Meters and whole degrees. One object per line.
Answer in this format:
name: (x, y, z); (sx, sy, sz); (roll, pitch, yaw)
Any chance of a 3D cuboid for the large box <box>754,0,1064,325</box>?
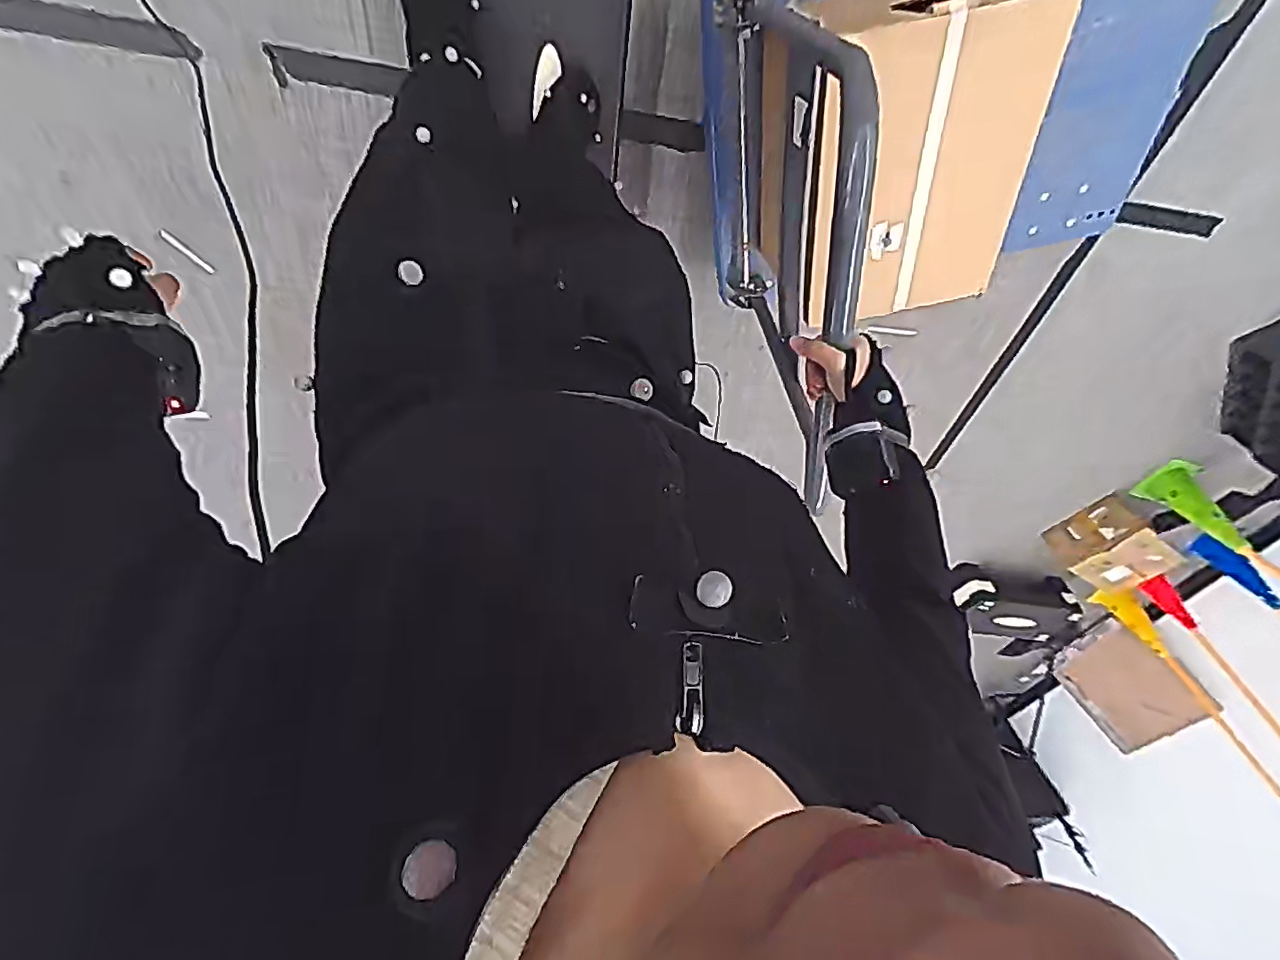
large box: (0.385, -0.541, 0.905); (0.320, 0.320, 0.408); (-11, 137, 2)
